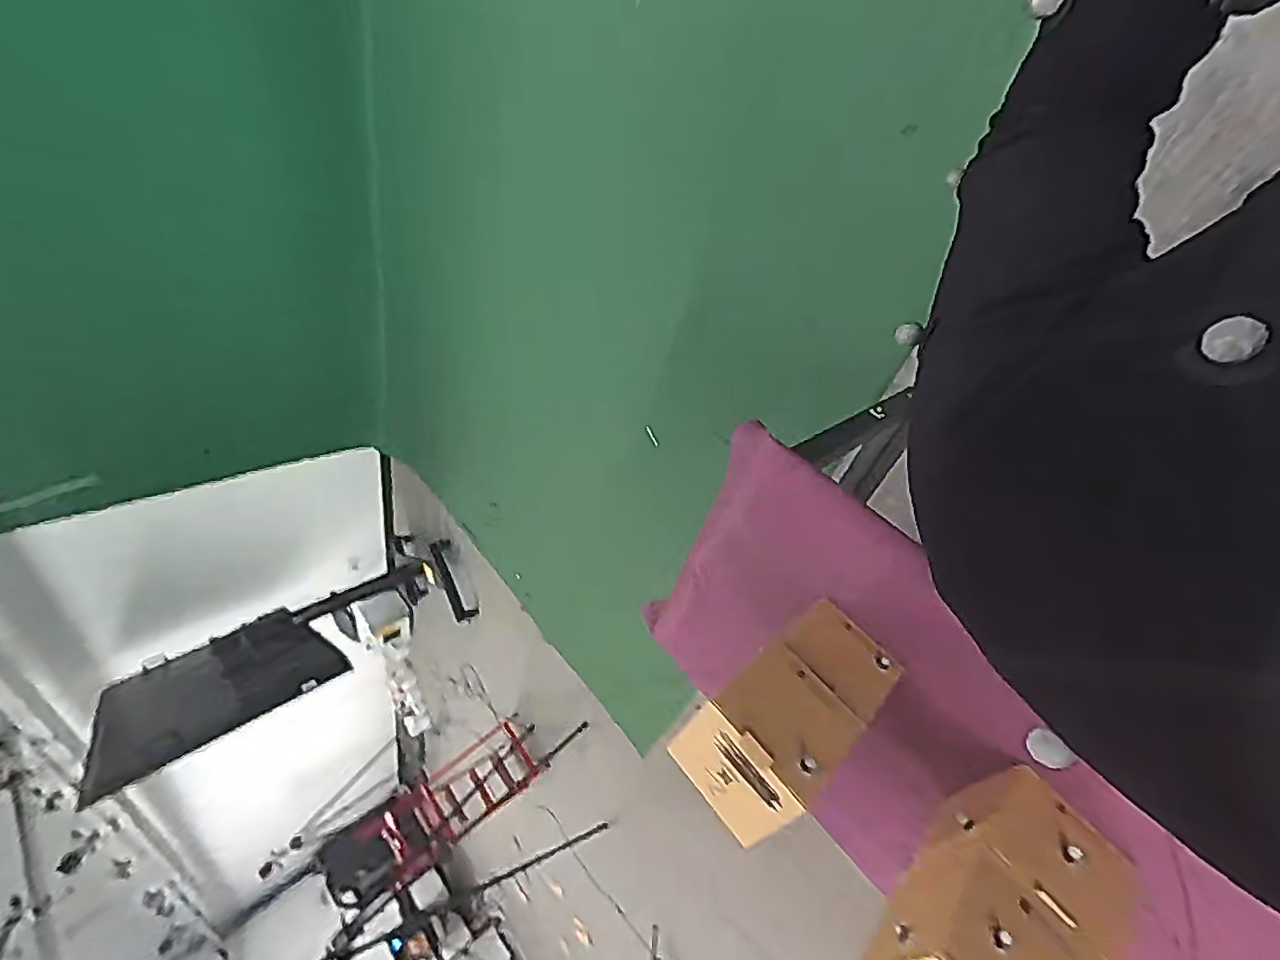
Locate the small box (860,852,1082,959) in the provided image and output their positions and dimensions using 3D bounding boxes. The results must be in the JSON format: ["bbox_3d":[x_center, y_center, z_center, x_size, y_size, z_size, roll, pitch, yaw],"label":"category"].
[{"bbox_3d":[0.393,0.587,0.642,0.168,0.176,0.179,45,135,24],"label":"small box"}]

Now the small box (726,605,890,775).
[{"bbox_3d":[0.282,0.338,0.895,0.168,0.176,0.179,47,135,24],"label":"small box"}]

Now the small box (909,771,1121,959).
[{"bbox_3d":[0.511,0.542,0.745,0.168,0.176,0.179,46,134,24],"label":"small box"}]
